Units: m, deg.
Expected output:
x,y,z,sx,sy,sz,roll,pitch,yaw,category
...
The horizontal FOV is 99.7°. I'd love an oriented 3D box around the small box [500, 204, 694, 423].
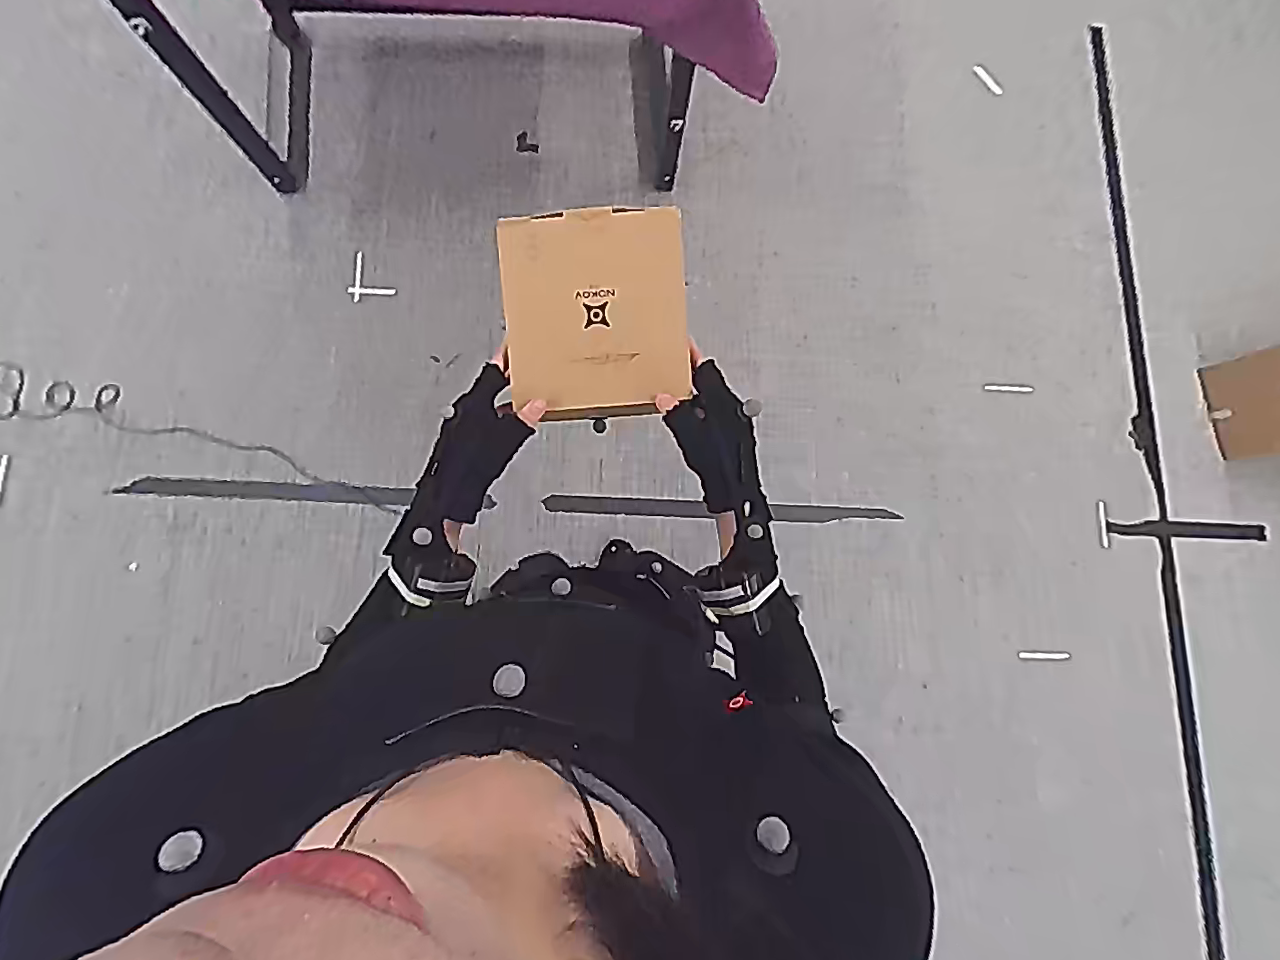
x,y,z,sx,sy,sz,roll,pitch,yaw,category
-0.041,-0.158,0.563,0.168,0.176,0.179,-5,92,-1,small box
